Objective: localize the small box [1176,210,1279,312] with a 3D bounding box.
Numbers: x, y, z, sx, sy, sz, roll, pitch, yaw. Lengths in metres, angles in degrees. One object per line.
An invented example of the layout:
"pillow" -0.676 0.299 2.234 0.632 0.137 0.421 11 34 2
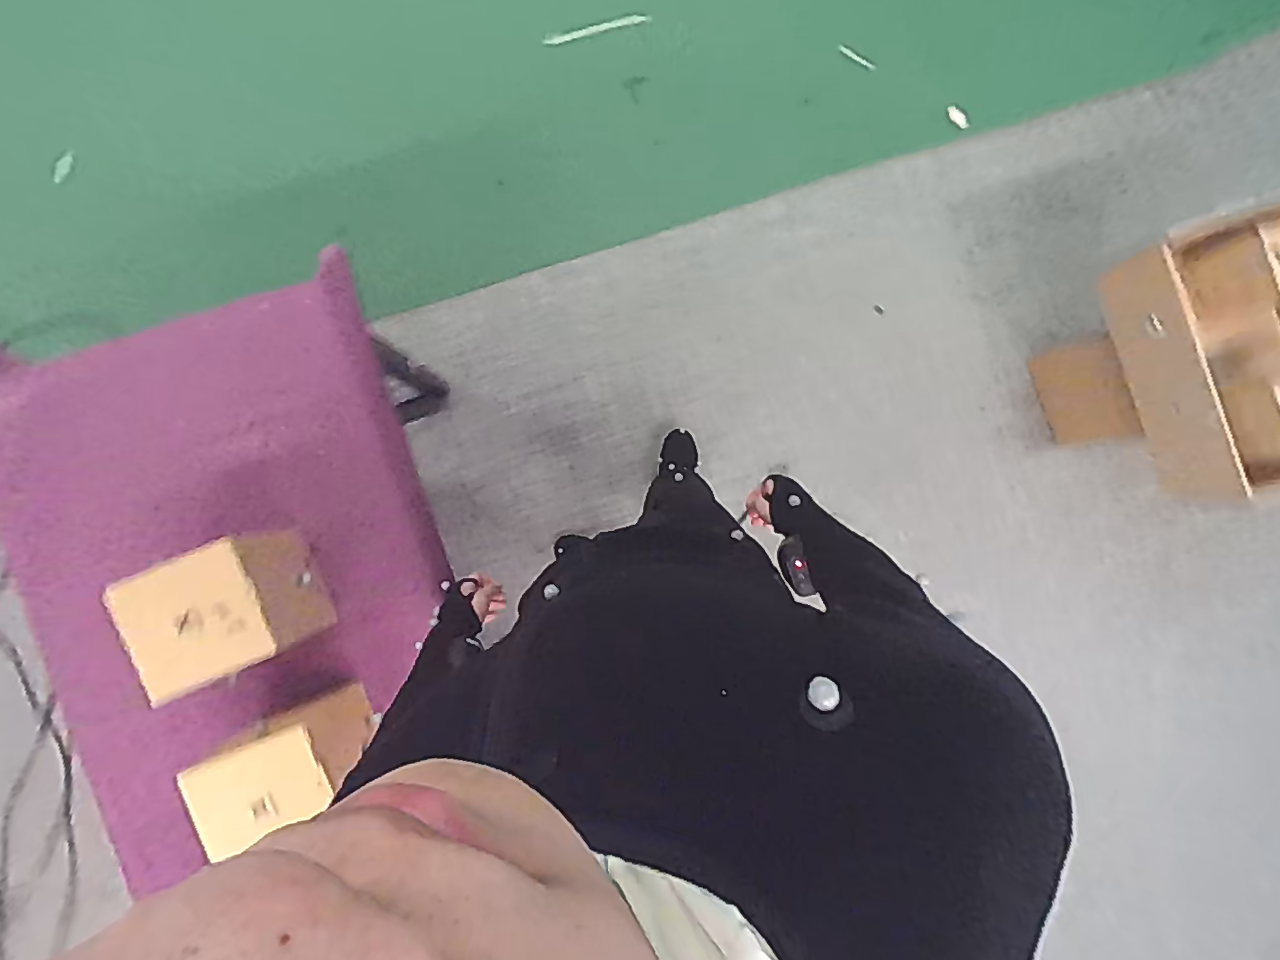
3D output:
"small box" 1.411 -0.508 1.242 0.179 0.176 0.168 -18 90 -4

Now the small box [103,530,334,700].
"small box" -0.597 0.184 0.791 0.179 0.176 0.168 -24 92 -4

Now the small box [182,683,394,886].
"small box" -0.501 0.432 0.798 0.179 0.176 0.168 -23 91 -5
